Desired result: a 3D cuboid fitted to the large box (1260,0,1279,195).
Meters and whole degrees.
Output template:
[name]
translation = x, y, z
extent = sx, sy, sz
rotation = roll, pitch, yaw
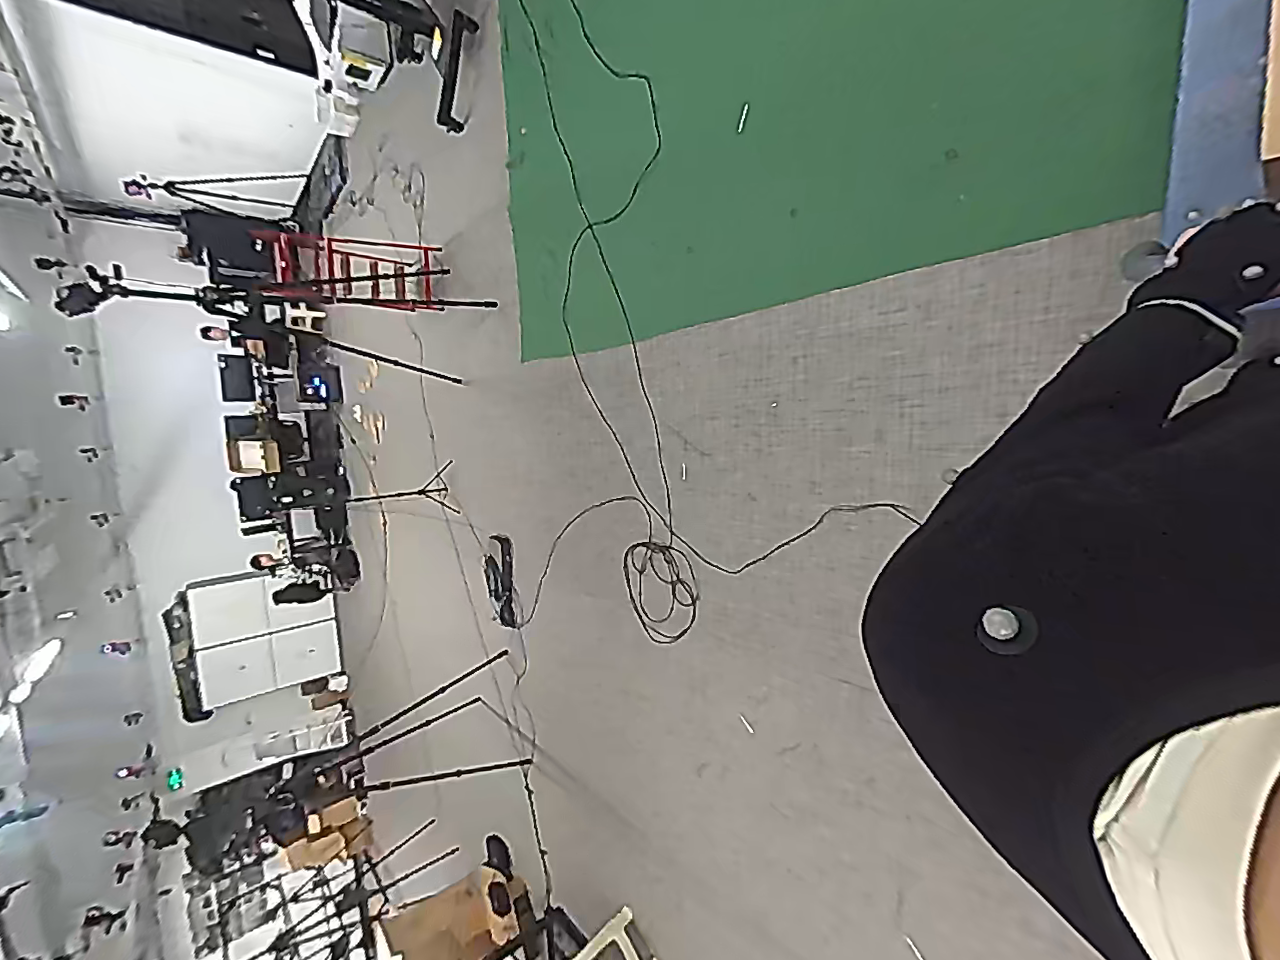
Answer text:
[large box]
translation = 1.086, -0.667, 0.725
extent = 0.320, 0.320, 0.408
rotation = 4, 100, 50
